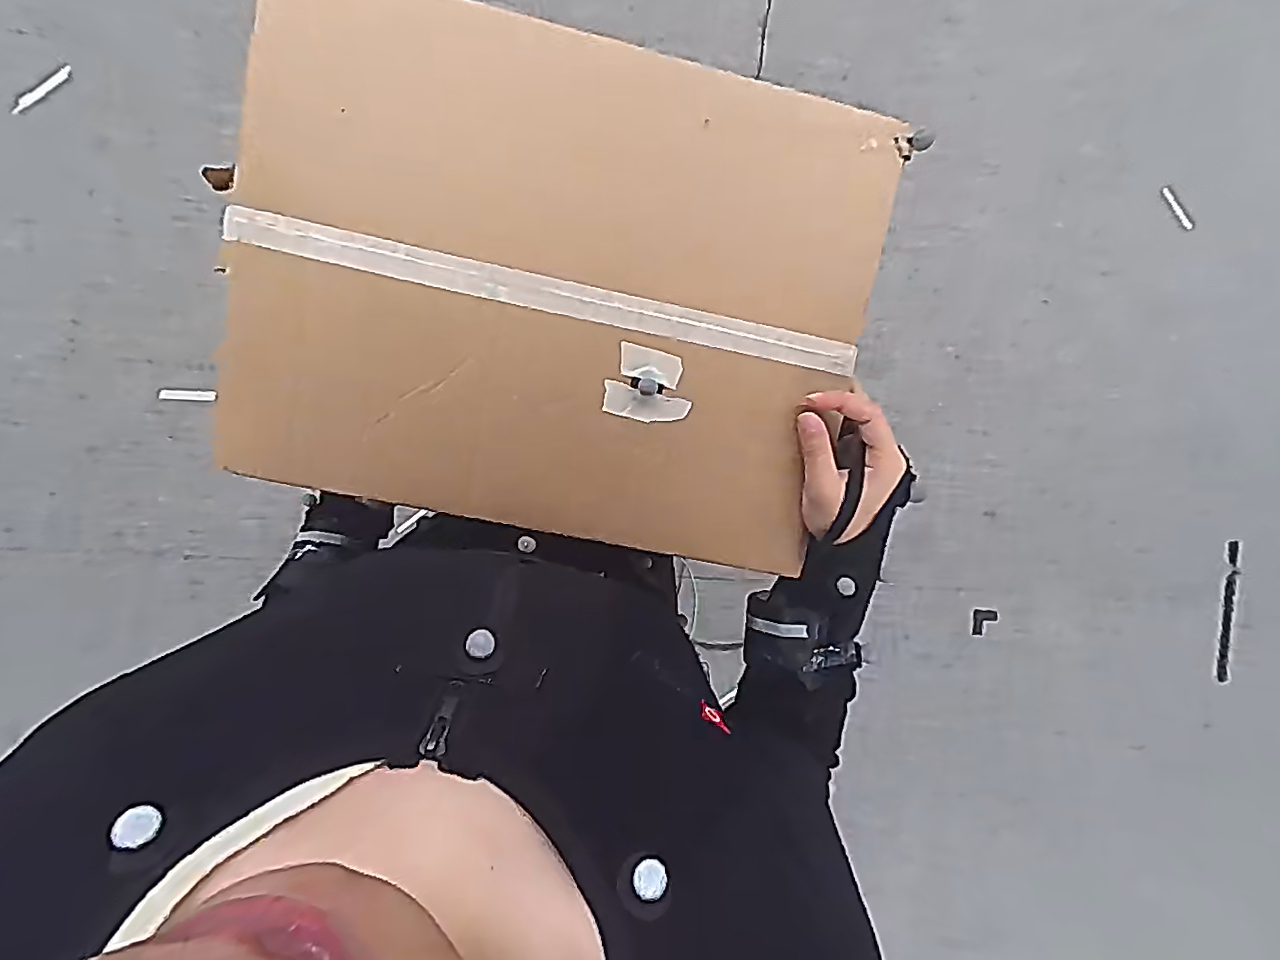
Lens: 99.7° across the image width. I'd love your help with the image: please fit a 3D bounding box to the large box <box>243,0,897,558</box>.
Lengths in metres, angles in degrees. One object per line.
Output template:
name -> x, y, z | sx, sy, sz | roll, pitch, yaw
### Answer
large box -> -0.059, -0.142, 0.510 | 0.408, 0.320, 0.320 | 11, 98, -7
